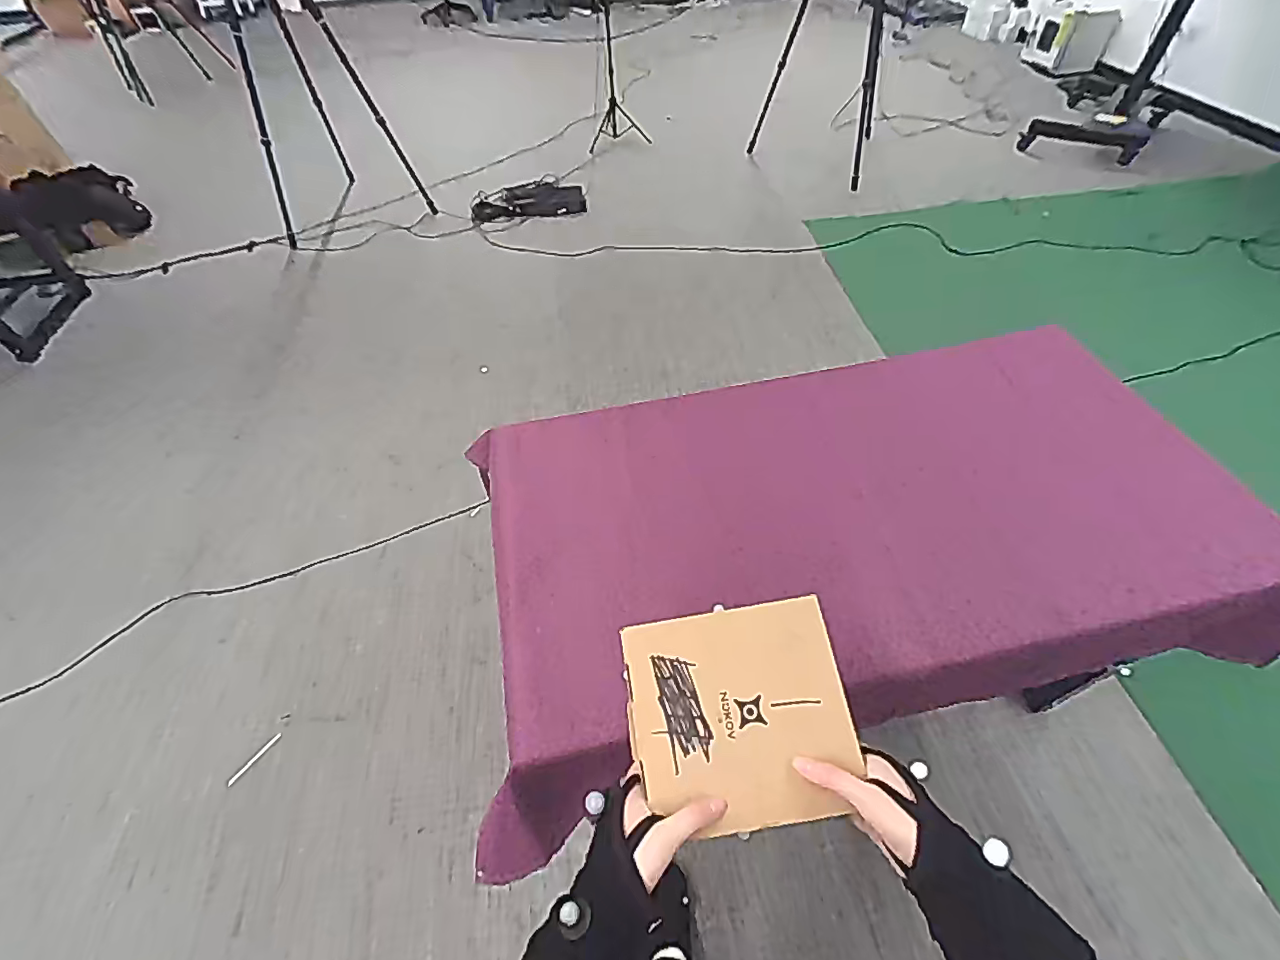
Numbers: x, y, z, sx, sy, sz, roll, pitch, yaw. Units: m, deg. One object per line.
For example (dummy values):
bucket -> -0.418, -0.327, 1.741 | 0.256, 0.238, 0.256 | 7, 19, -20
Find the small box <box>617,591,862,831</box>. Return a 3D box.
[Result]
small box -> 0.082, 0.217, 0.521 | 0.179, 0.176, 0.168 | -10, 67, 0
